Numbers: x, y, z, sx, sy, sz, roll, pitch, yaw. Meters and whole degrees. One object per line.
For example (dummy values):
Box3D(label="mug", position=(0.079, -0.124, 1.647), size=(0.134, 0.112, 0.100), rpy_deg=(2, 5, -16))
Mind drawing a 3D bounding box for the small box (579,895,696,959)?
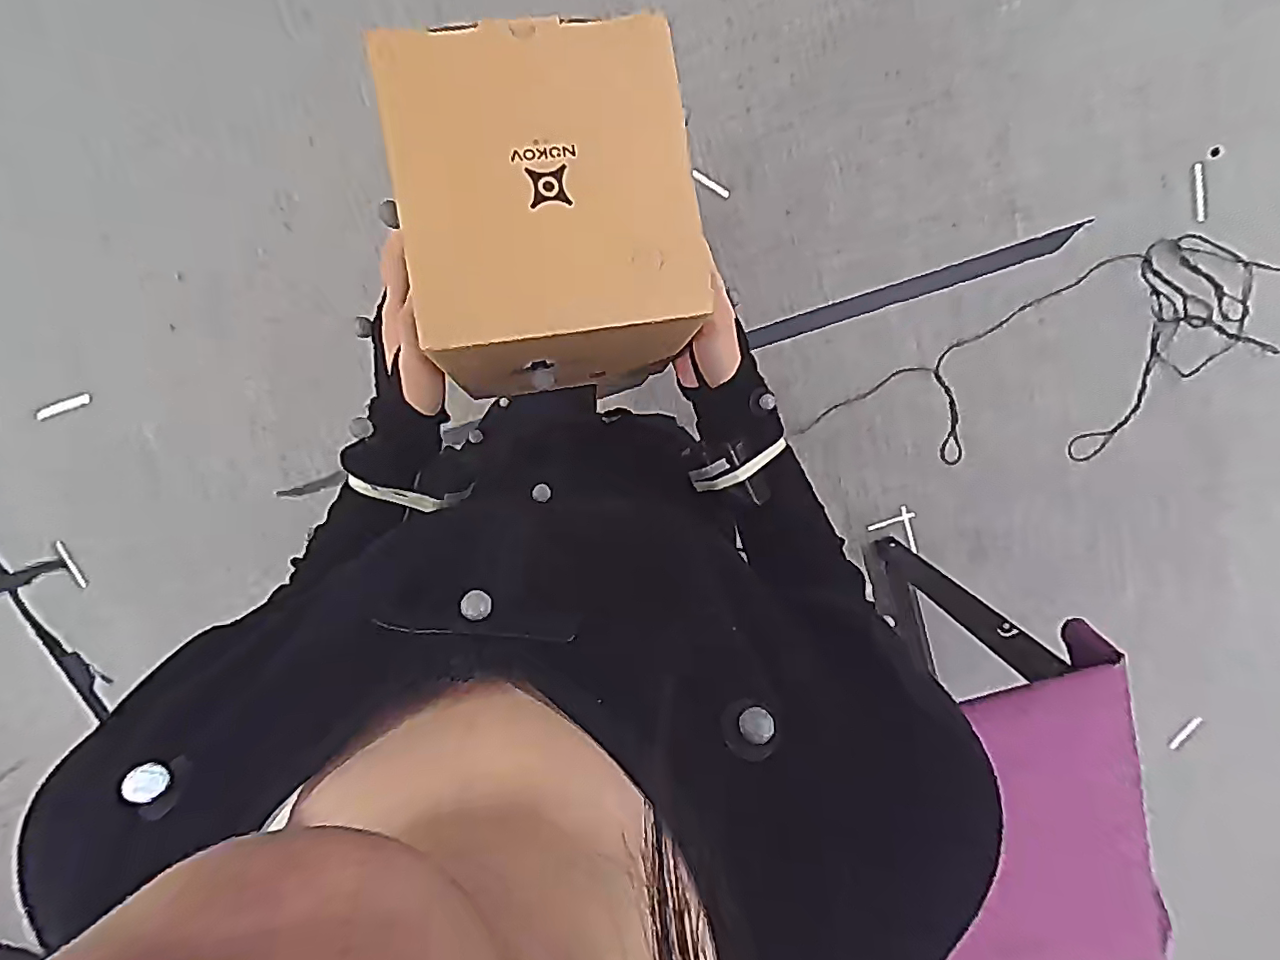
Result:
Box3D(label="small box", position=(0.004, 0.807, 0.845), size=(0.168, 0.176, 0.179), rpy_deg=(-16, 103, 2))

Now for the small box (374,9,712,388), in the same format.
Box3D(label="small box", position=(-0.059, -0.168, 0.377), size=(0.168, 0.176, 0.179), rpy_deg=(-9, 89, -7))
